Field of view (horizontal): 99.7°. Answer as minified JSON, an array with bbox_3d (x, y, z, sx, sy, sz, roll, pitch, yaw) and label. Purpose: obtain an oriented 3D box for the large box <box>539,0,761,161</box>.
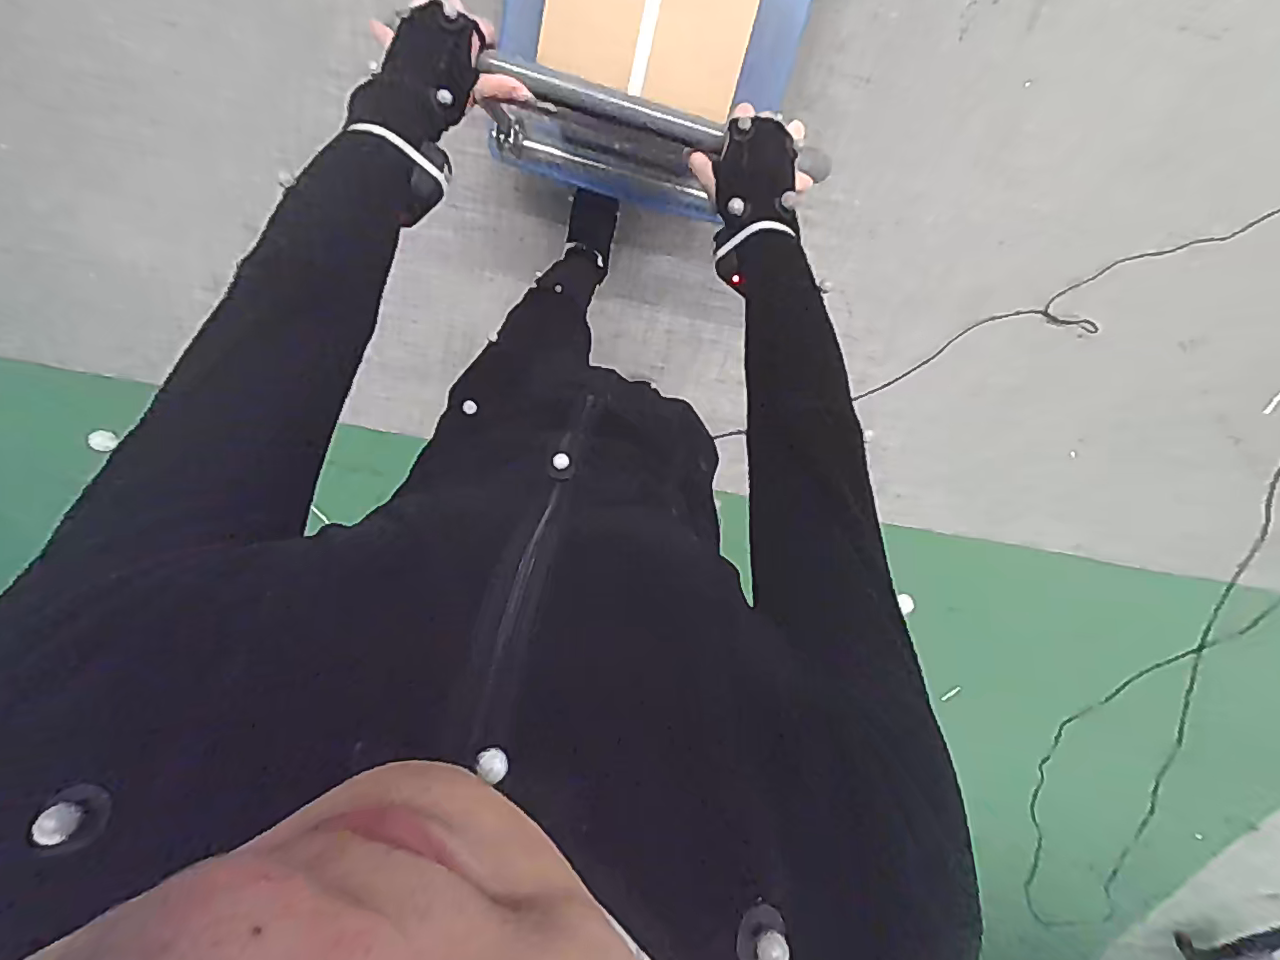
[{"bbox_3d":[0.035,-0.819,0.922,0.320,0.320,0.408,13,115,-6],"label":"large box"}]
